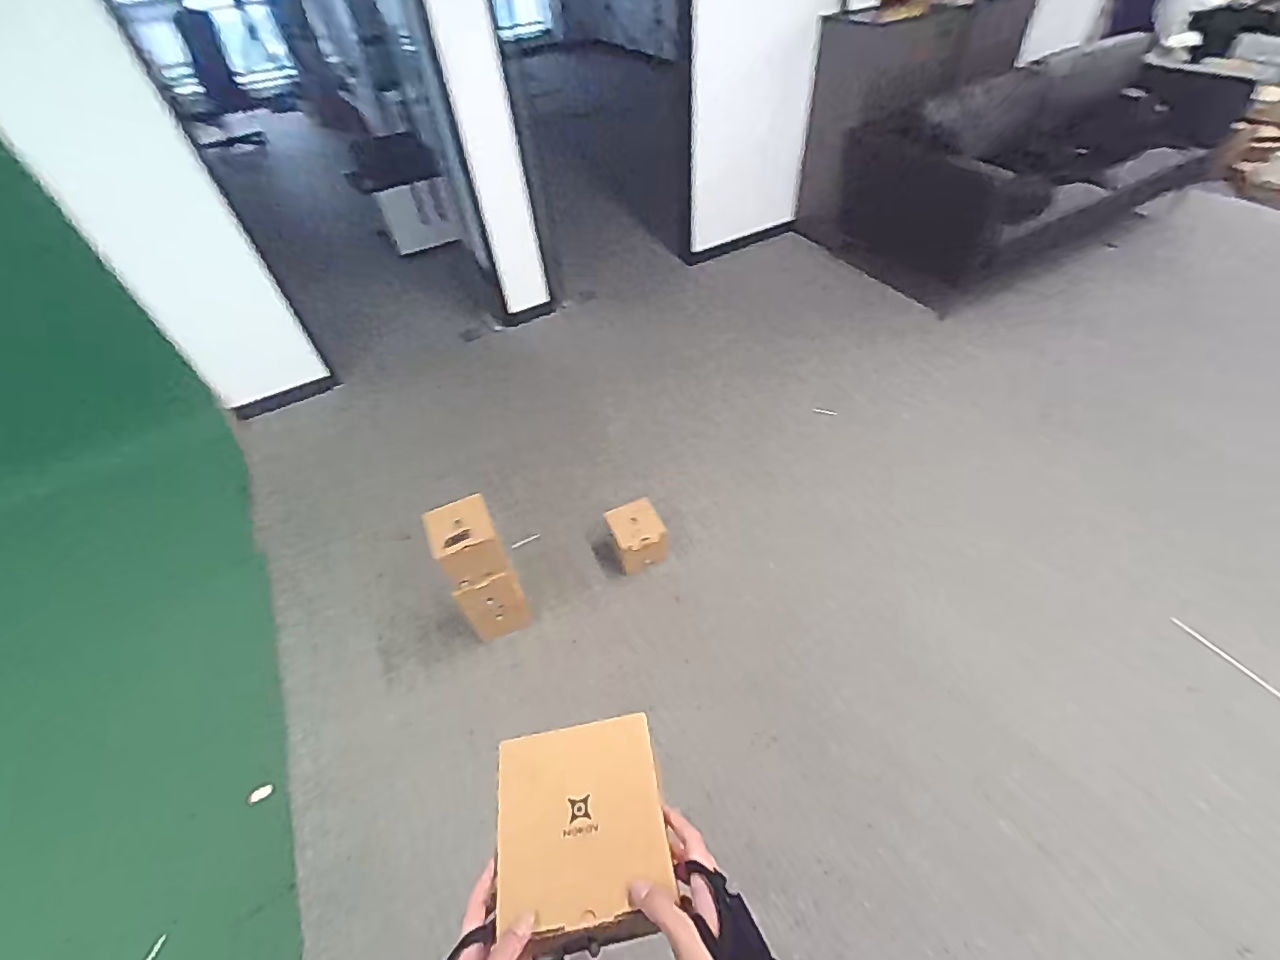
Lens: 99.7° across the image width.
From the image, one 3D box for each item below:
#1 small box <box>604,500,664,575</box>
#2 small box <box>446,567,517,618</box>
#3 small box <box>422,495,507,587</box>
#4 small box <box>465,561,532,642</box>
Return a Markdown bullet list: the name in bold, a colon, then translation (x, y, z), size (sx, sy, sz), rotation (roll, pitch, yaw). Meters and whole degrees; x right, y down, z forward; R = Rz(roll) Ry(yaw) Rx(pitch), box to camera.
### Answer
- **small box**: translation (-0.022, 0.204, 1.903), size (0.168, 0.176, 0.179), rotation (-17, 50, -8)
- **small box**: translation (-0.486, 0.297, 1.643), size (0.168, 0.176, 0.179), rotation (-21, 51, -14)
- **small box**: translation (-0.491, 0.179, 1.527), size (0.168, 0.176, 0.179), rotation (-22, 50, -14)
- **small box**: translation (-0.473, 0.401, 1.768), size (0.179, 0.176, 0.168), rotation (-20, 50, -13)
